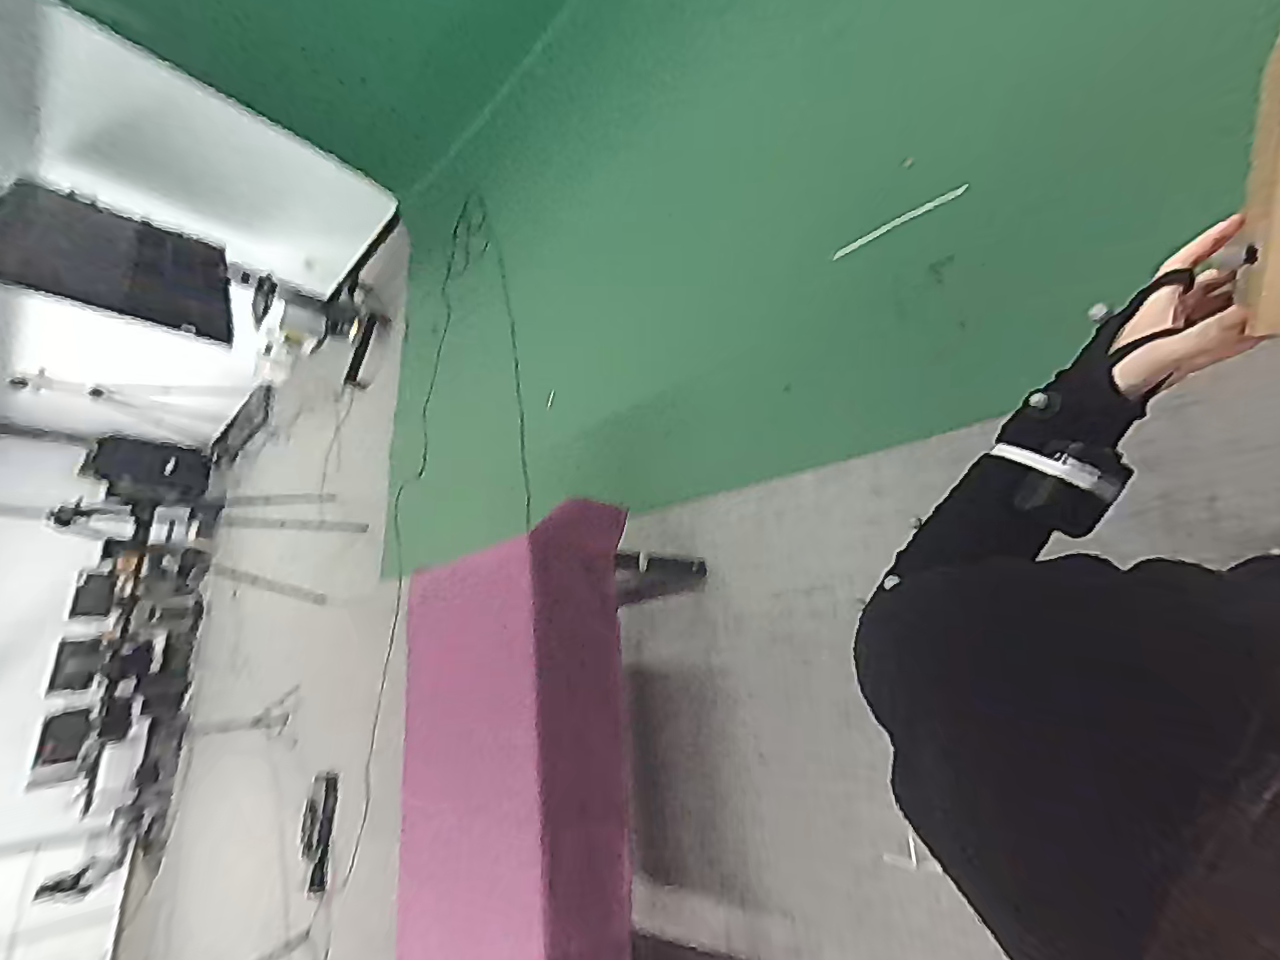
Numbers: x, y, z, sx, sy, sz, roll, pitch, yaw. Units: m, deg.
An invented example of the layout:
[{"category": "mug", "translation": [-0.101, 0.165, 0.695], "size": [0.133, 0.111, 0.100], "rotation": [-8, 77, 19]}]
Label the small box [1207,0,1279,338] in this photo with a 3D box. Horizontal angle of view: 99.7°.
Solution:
[{"category": "small box", "translation": [0.429, -0.172, 0.283], "size": [0.168, 0.176, 0.179], "rotation": [7, 106, 42]}]
